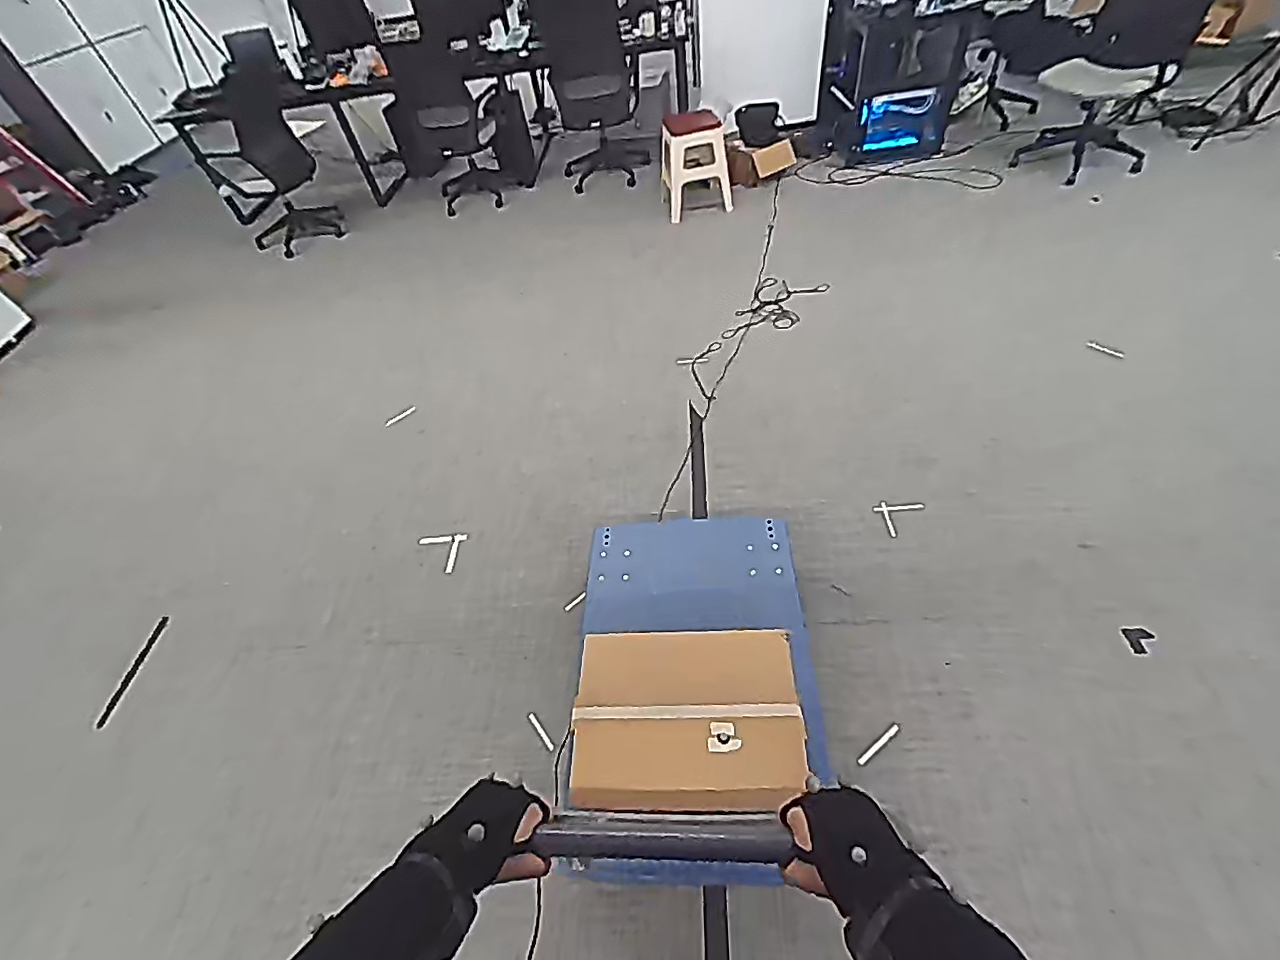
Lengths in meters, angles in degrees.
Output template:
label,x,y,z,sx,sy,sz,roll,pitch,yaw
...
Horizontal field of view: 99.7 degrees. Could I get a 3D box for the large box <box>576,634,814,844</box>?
label,x,y,z,sx,sy,sz,roll,pitch,yaw
large box,0.104,0.532,1.100,0.408,0.320,0.320,-4,49,6
